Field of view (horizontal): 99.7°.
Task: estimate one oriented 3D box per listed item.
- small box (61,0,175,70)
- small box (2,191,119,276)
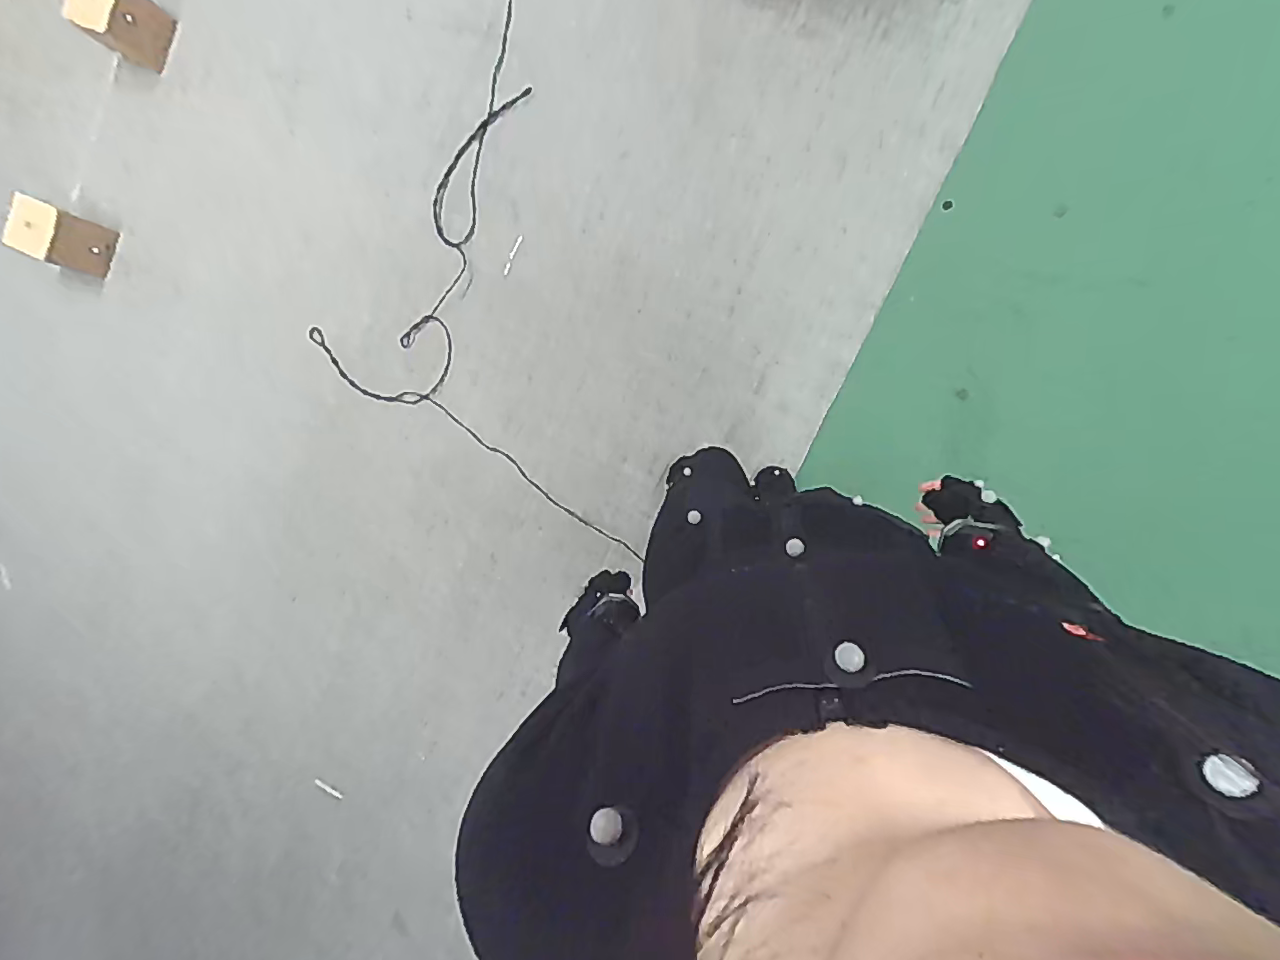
[{"bbox_3d":[-1.569,-1.403,1.635,0.168,0.176,0.179,24,97,7],"label":"small box"},{"bbox_3d":[-1.822,-0.770,1.705,0.179,0.176,0.168,24,96,8],"label":"small box"}]
